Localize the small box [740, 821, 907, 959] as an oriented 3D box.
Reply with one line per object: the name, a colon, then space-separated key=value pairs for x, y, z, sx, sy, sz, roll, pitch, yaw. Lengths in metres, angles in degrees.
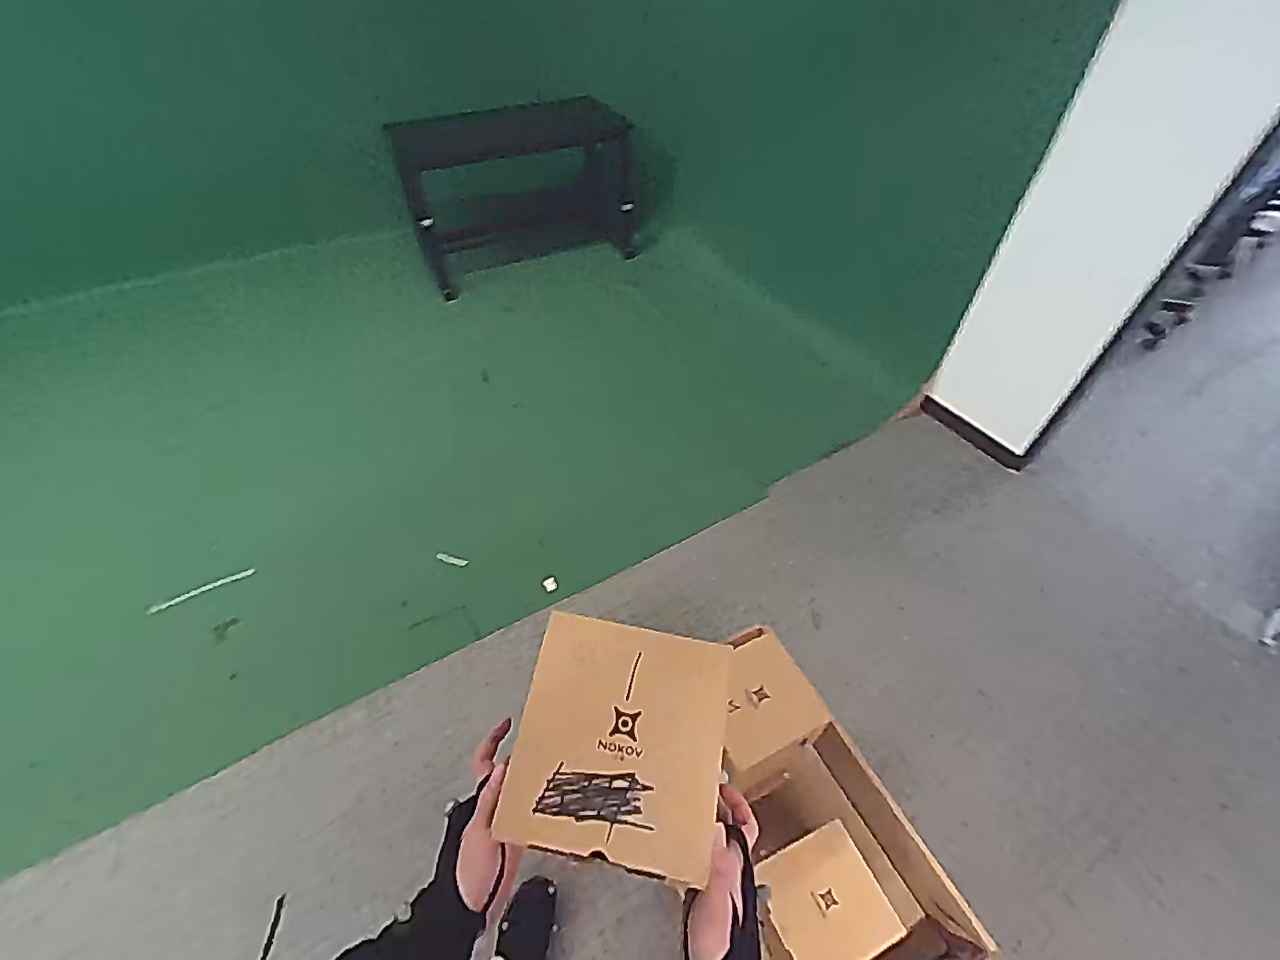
small box: x=0.282 y=0.688 z=0.874 sx=0.179 sy=0.176 sz=0.168 roll=-20 pitch=51 yaw=-15

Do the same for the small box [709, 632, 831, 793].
small box: x=0.184 y=0.393 z=0.914 sx=0.179 sy=0.176 sz=0.168 roll=-20 pitch=51 yaw=-17

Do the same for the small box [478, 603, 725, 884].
small box: x=-0.026 y=0.233 z=0.495 sx=0.168 sy=0.176 sz=0.179 roll=11 pitch=61 yaw=3
